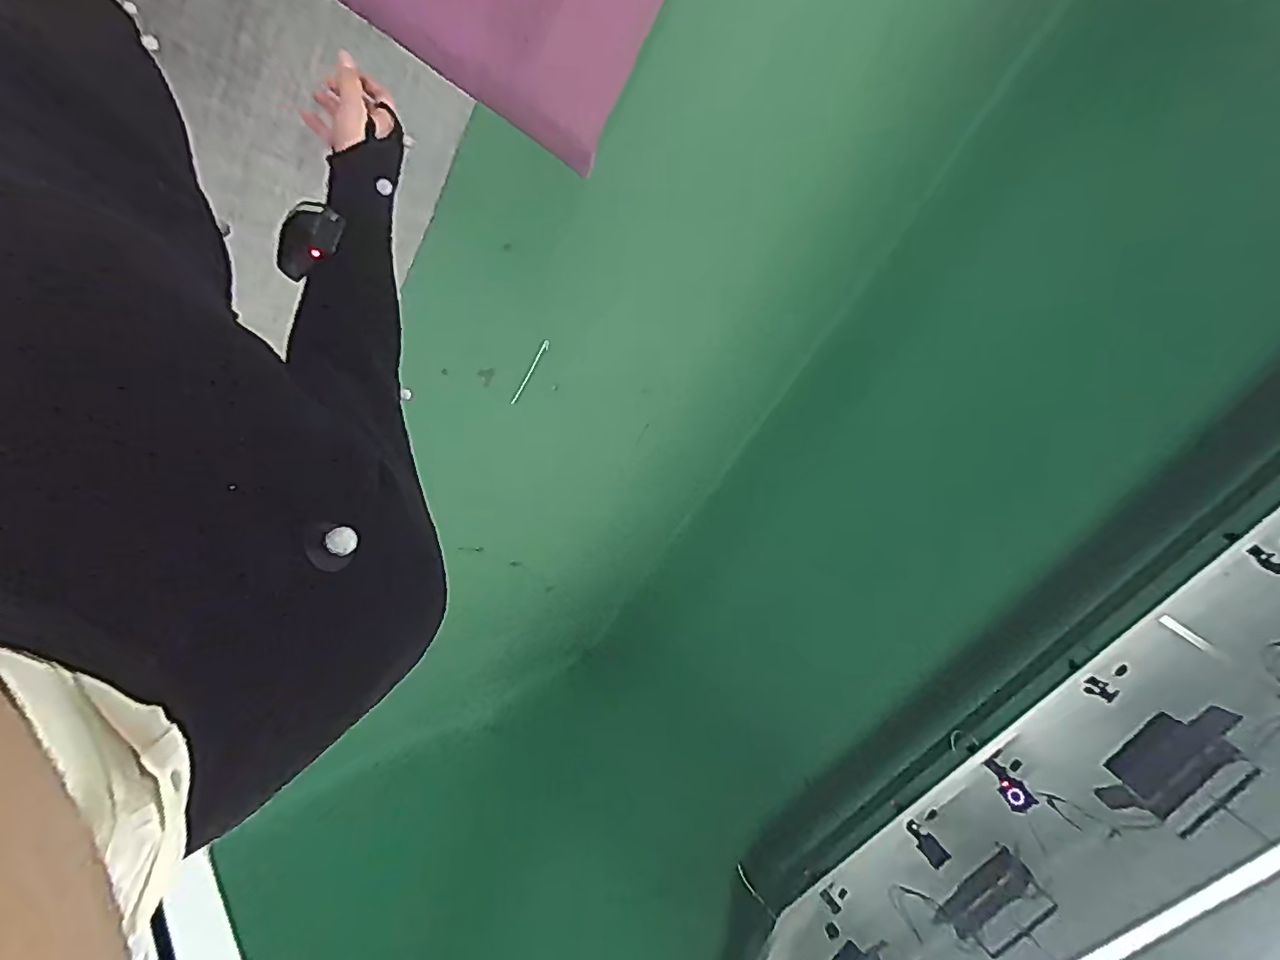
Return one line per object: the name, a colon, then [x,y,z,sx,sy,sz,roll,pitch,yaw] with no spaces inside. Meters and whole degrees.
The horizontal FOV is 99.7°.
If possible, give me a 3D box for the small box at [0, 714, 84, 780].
small box: [-1.577,0.726,1.372,0.168,0.176,0.179,-51,154,12]
